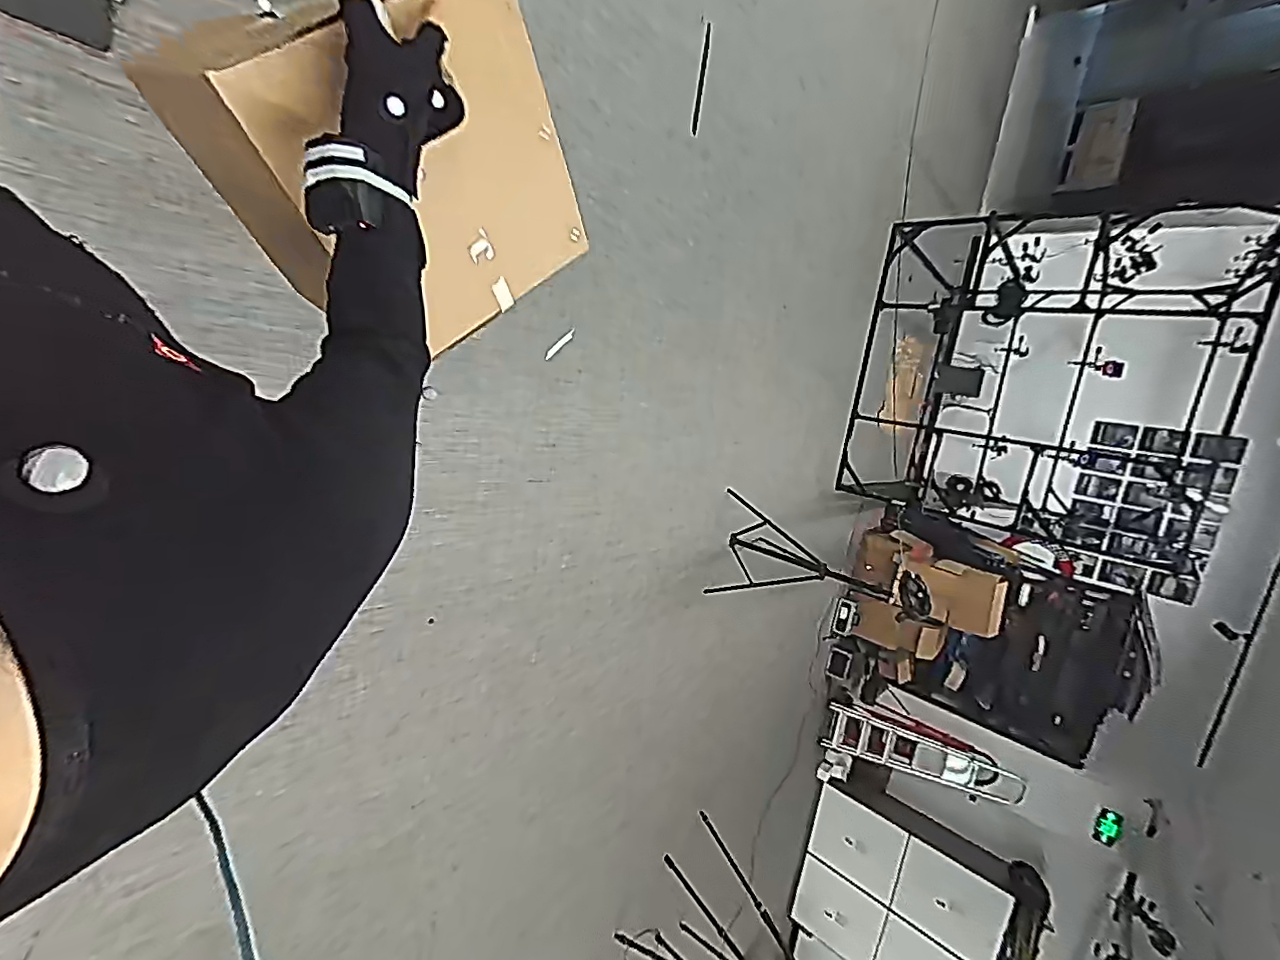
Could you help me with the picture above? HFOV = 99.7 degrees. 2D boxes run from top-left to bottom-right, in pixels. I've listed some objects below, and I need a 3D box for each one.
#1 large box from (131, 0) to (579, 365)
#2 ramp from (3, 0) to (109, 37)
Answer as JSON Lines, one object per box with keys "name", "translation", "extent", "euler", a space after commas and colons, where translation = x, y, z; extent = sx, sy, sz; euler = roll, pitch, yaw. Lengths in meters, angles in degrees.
{"name": "large box", "translation": [-0.349, -0.413, 0.718], "extent": [0.320, 0.408, 0.320], "euler": [-43, 145, -20]}
{"name": "ramp", "translation": [-0.983, -1.239, 0.658], "extent": [0.509, 0.206, 0.991], "euler": [-6, 108, -50]}
